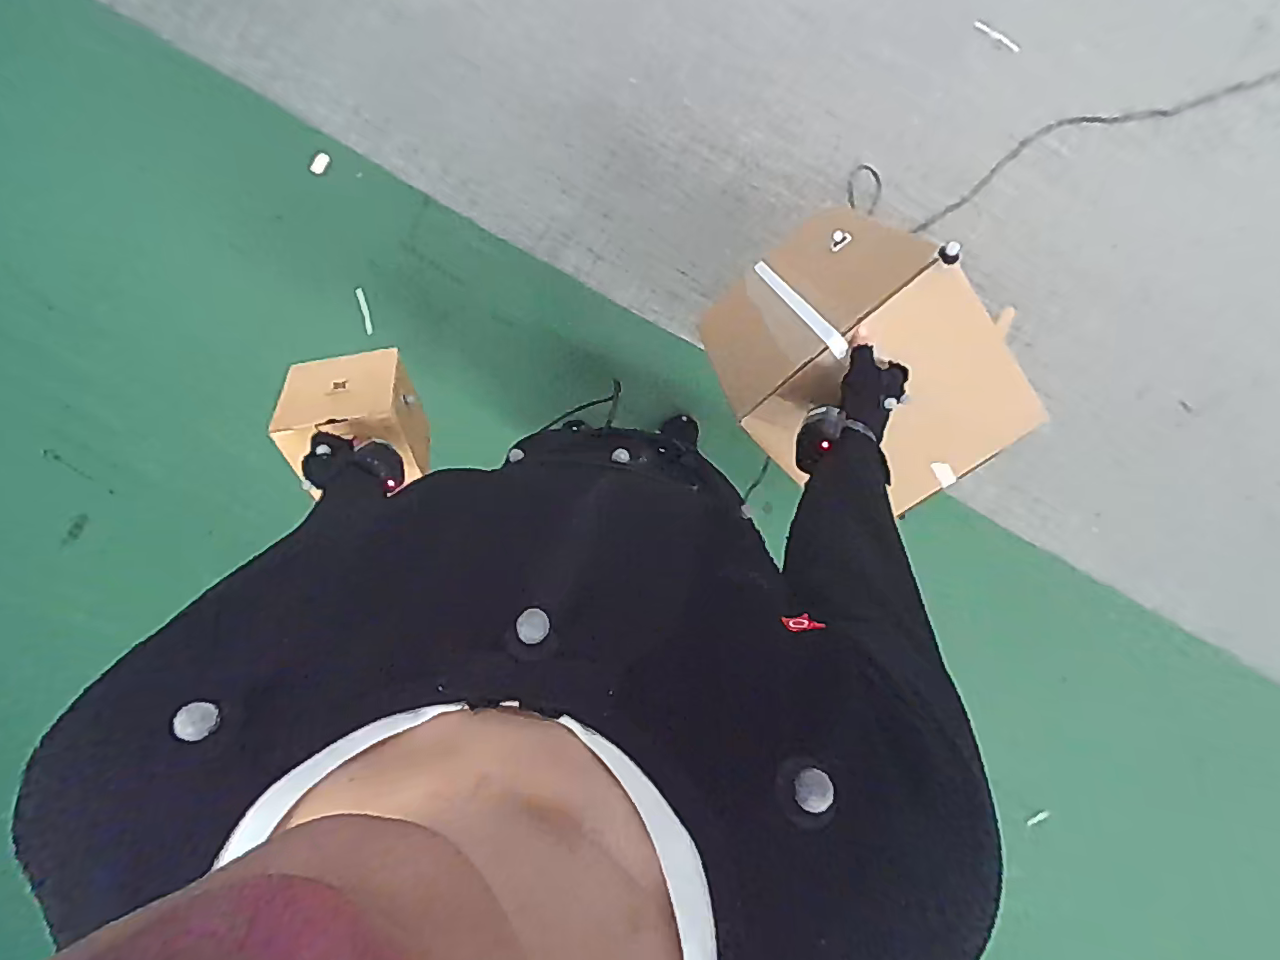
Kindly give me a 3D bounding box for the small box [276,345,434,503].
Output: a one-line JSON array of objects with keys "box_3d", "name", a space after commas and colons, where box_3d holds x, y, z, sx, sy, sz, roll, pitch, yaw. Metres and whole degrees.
[{"box_3d": [-0.443, -0.090, 0.875, 0.168, 0.179, 0.176, -12, 137, -7], "name": "small box"}]
